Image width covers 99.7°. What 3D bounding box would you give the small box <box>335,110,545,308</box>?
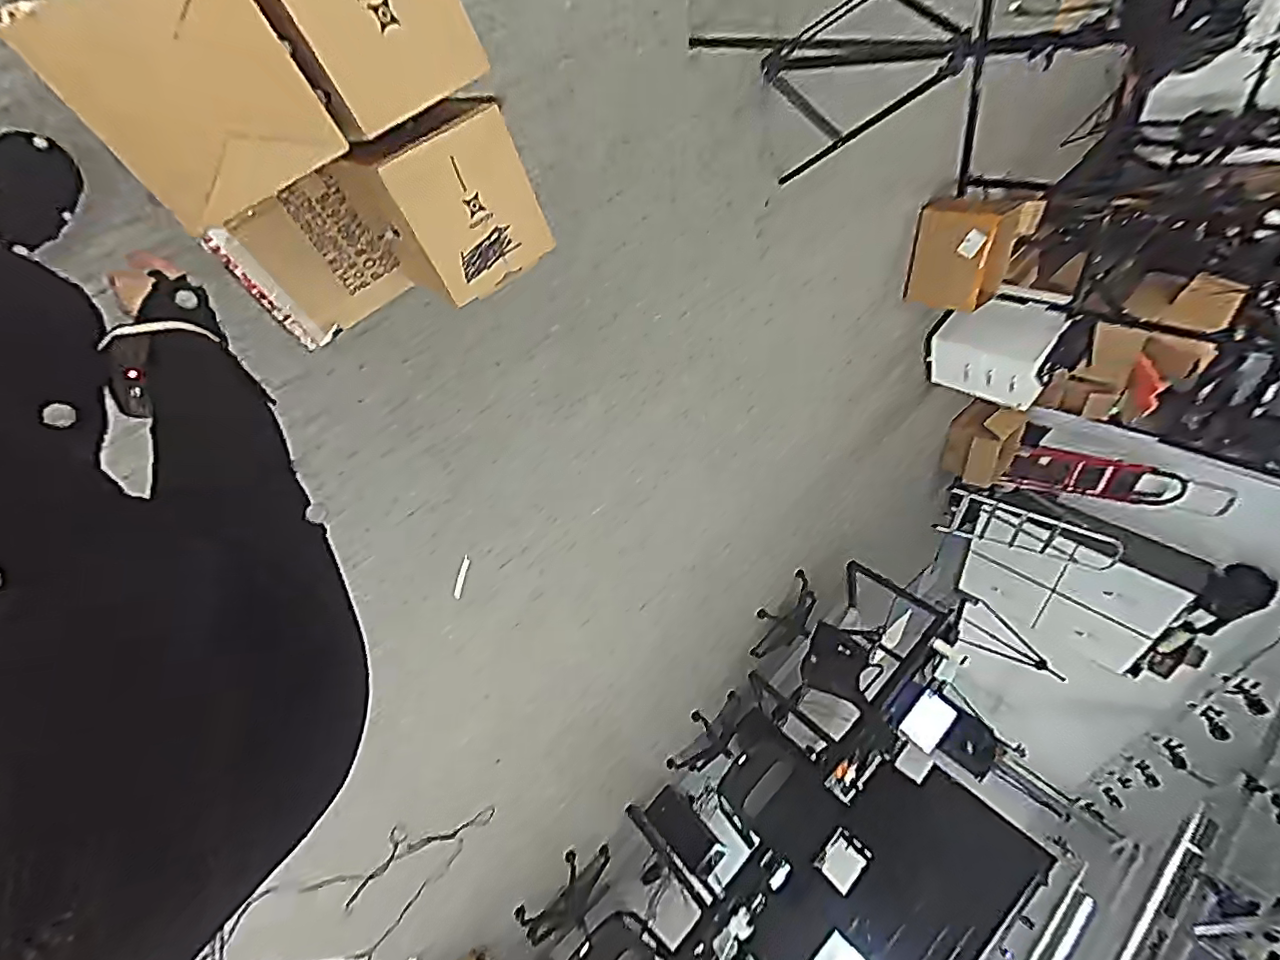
[{"bbox_3d":[-0.261,-0.363,0.717,0.168,0.176,0.179,-40,138,-17],"label":"small box"}]
